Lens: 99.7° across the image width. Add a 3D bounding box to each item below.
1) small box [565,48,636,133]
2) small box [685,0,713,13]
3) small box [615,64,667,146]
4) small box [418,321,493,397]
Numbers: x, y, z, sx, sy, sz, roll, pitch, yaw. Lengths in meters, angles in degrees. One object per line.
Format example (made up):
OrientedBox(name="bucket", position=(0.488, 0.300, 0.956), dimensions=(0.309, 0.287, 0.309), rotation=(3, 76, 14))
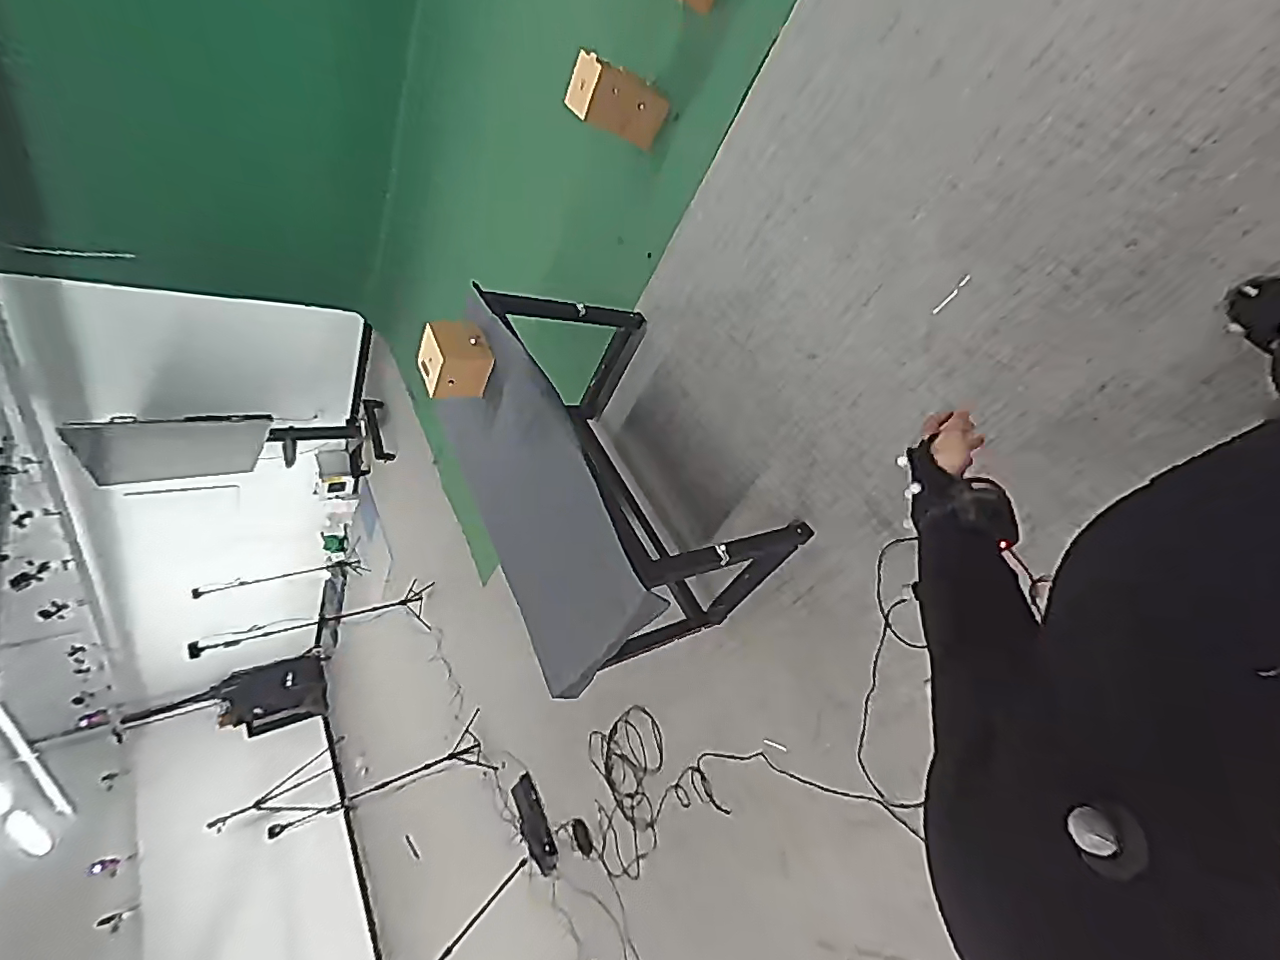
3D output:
OrientedBox(name="small box", position=(-0.137, -1.398, 1.950), dimensions=(0.168, 0.176, 0.179), rotation=(56, 133, 29))
OrientedBox(name="small box", position=(0.176, -1.717, 1.794), dimensions=(0.179, 0.176, 0.168), rotation=(-51, 58, 40))
OrientedBox(name="small box", position=(-0.019, -1.422, 2.059), dimensions=(0.179, 0.176, 0.168), rotation=(-49, 59, 41))
OrientedBox(name="small box", position=(-0.592, -0.384, 1.735), dimensions=(0.179, 0.176, 0.168), rotation=(-51, 58, 42))
